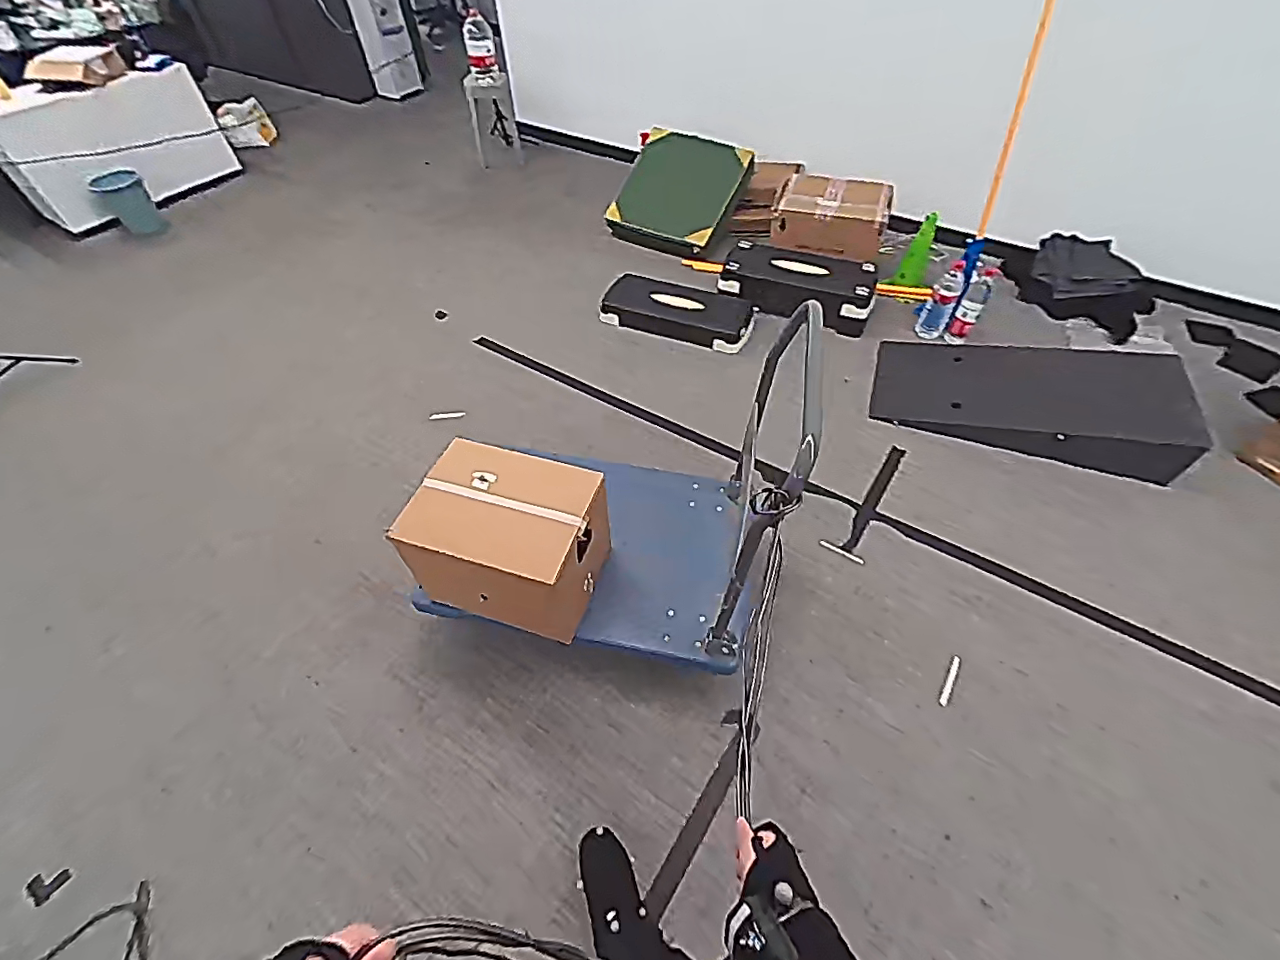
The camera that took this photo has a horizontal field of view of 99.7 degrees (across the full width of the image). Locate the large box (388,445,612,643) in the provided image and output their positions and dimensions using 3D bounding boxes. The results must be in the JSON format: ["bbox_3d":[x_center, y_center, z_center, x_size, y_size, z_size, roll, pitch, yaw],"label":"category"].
[{"bbox_3d":[-0.311,0.159,1.340,0.408,0.320,0.320,13,52,12],"label":"large box"}]
